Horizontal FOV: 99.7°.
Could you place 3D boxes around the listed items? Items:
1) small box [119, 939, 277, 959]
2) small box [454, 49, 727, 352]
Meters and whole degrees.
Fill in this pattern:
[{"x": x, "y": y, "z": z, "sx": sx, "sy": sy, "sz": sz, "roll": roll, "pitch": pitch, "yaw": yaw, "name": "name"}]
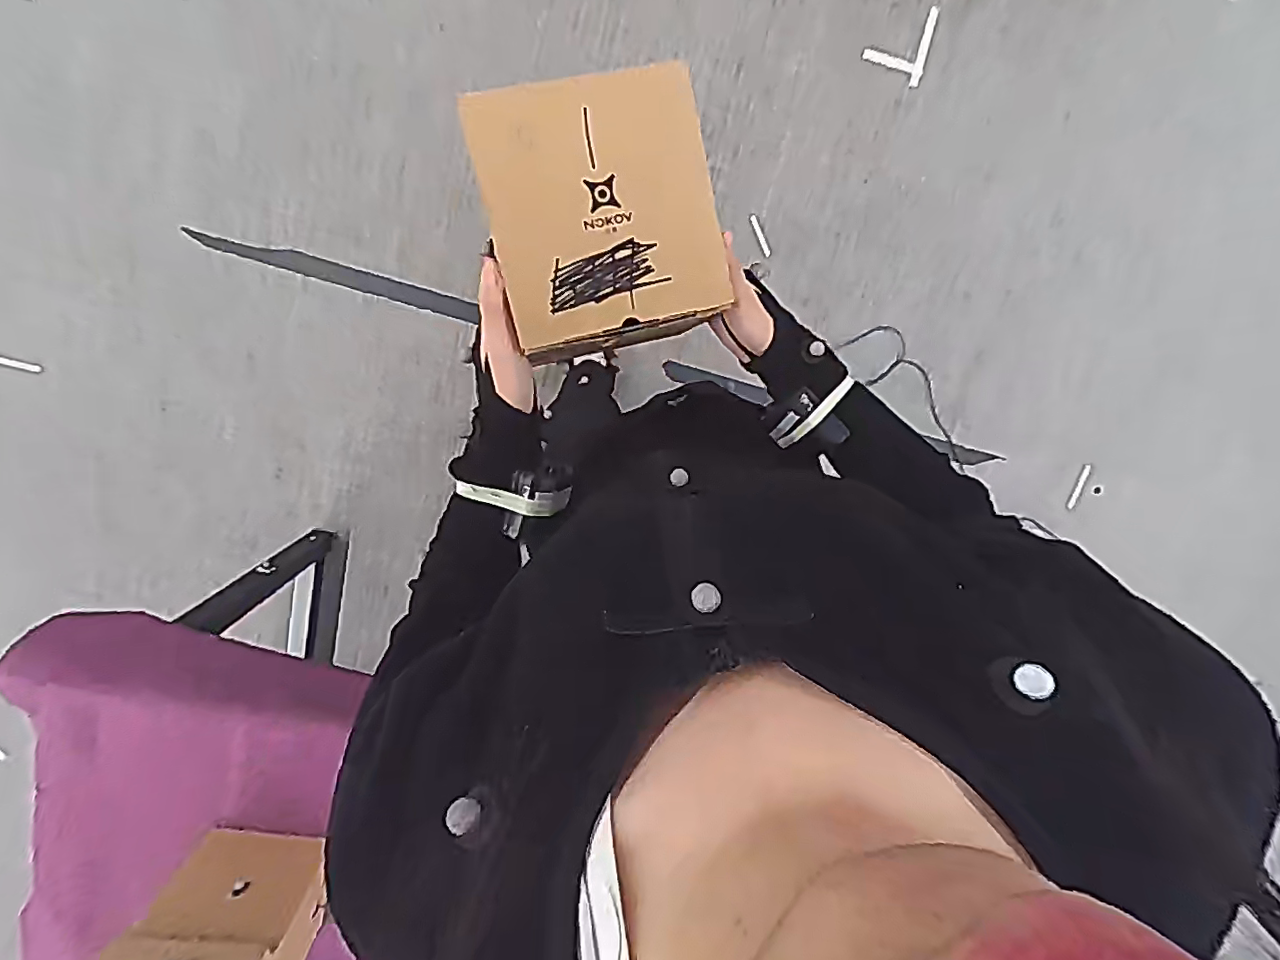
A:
[{"x": -0.545, "y": 0.658, "z": 0.599, "sx": 0.179, "sy": 0.176, "sz": 0.168, "roll": 9, "pitch": 103, "yaw": -7, "name": "small box"}, {"x": -0.041, "y": -0.211, "z": 0.461, "sx": 0.168, "sy": 0.176, "sz": 0.179, "roll": -14, "pitch": 99, "yaw": -8, "name": "small box"}]
